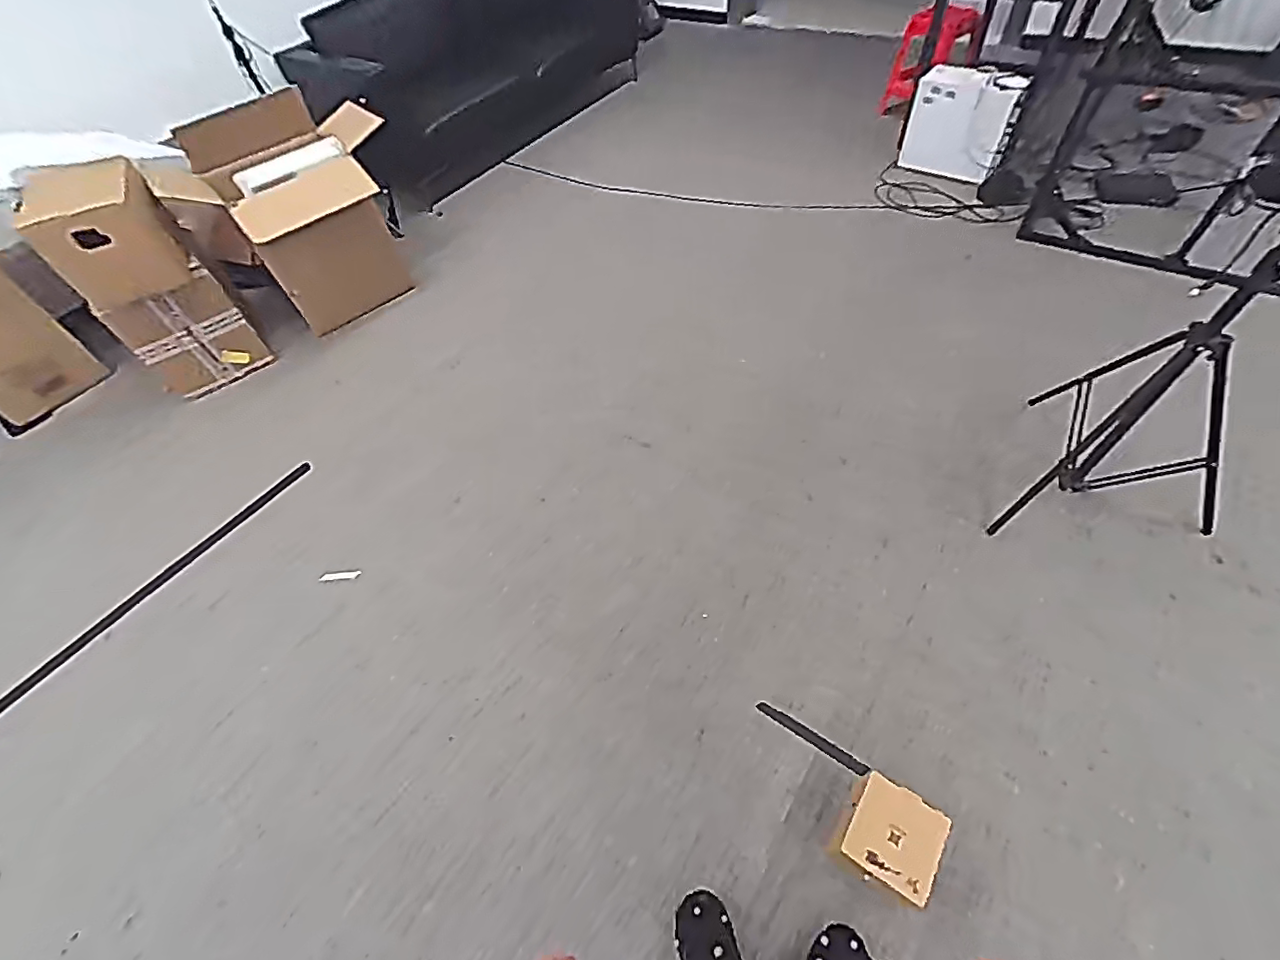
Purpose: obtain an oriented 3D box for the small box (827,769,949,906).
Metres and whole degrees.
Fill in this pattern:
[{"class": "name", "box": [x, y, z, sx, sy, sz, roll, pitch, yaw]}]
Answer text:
[{"class": "small box", "box": [0.516, 0.754, 1.145, 0.168, 0.176, 0.179, 27, 60, 23]}]
